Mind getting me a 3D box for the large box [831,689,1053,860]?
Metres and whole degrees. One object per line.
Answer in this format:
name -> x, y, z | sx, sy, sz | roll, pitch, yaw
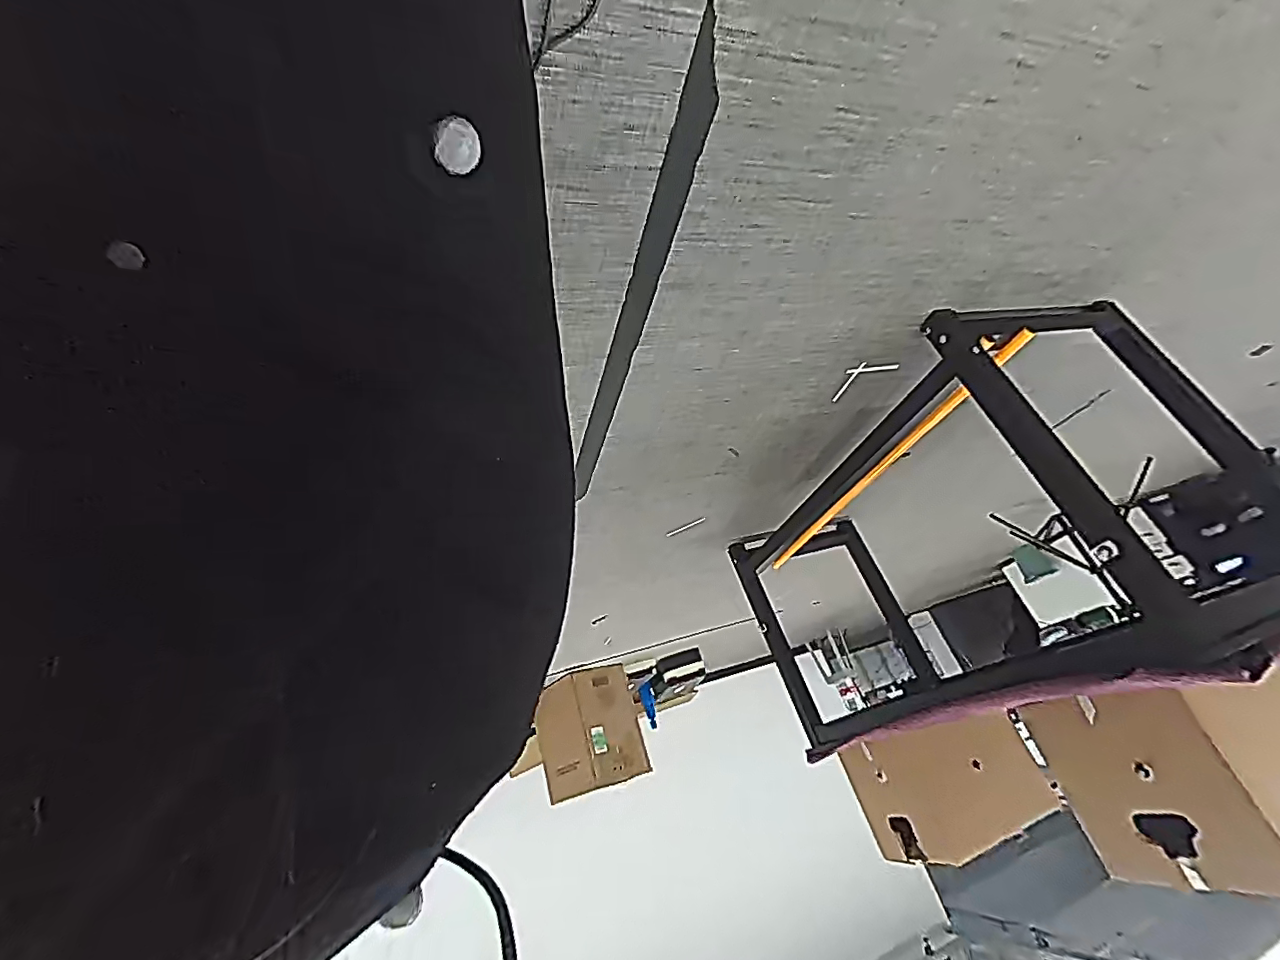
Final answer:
large box -> 0.855, 0.852, 1.580 | 0.408, 0.320, 0.320 | -10, 152, -22
